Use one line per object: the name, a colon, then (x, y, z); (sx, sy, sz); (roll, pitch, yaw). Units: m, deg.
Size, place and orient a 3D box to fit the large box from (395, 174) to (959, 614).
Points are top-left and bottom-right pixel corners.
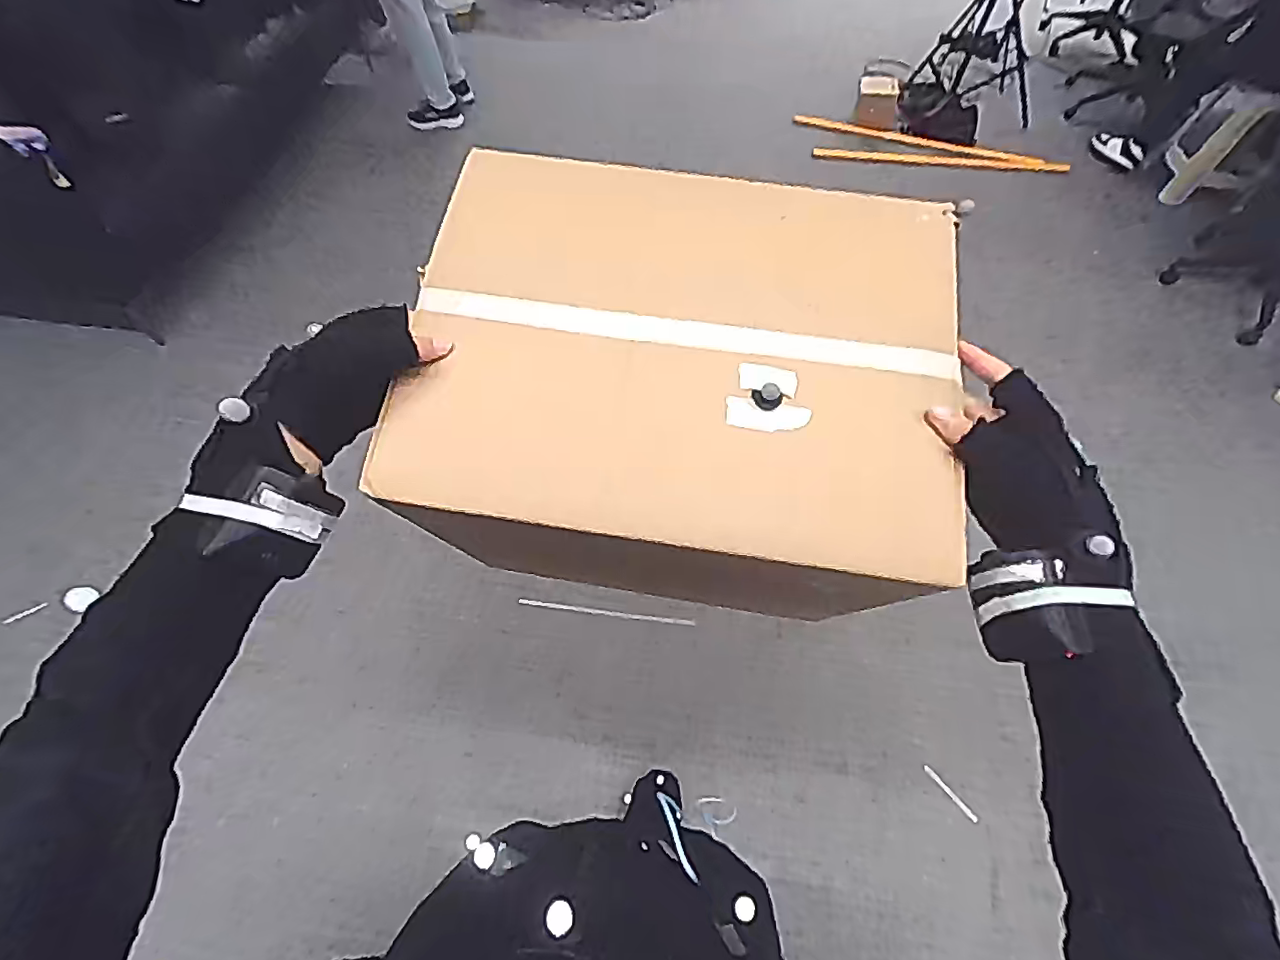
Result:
large box: (0.039, -0.055, 0.562); (0.408, 0.320, 0.320); (9, 72, 2)
